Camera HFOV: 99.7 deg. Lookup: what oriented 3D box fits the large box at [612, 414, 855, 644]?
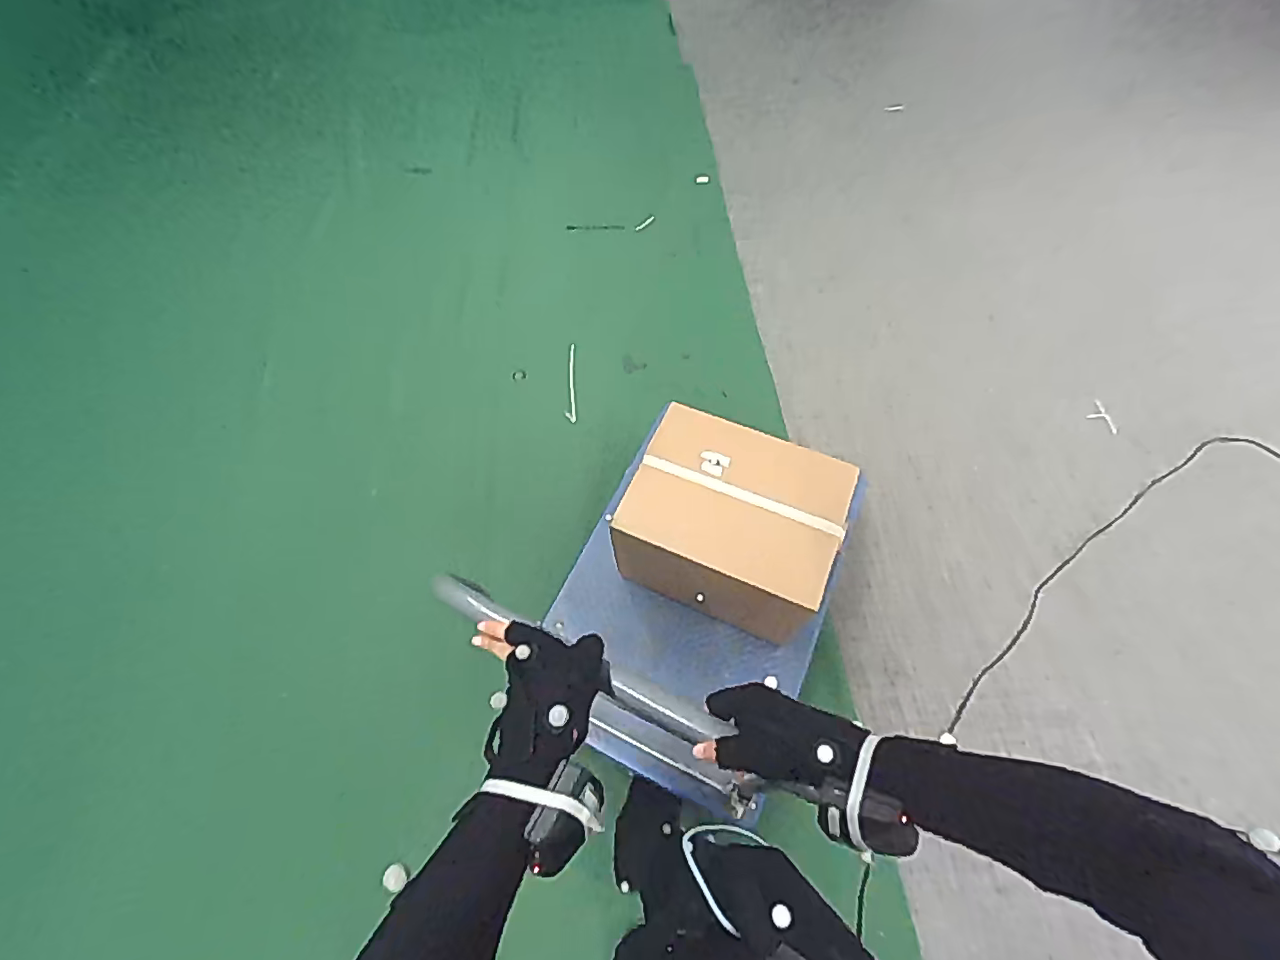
[{"bbox_3d":[0.195,0.114,1.180,0.408,0.320,0.320,21,64,13],"label":"large box"}]
